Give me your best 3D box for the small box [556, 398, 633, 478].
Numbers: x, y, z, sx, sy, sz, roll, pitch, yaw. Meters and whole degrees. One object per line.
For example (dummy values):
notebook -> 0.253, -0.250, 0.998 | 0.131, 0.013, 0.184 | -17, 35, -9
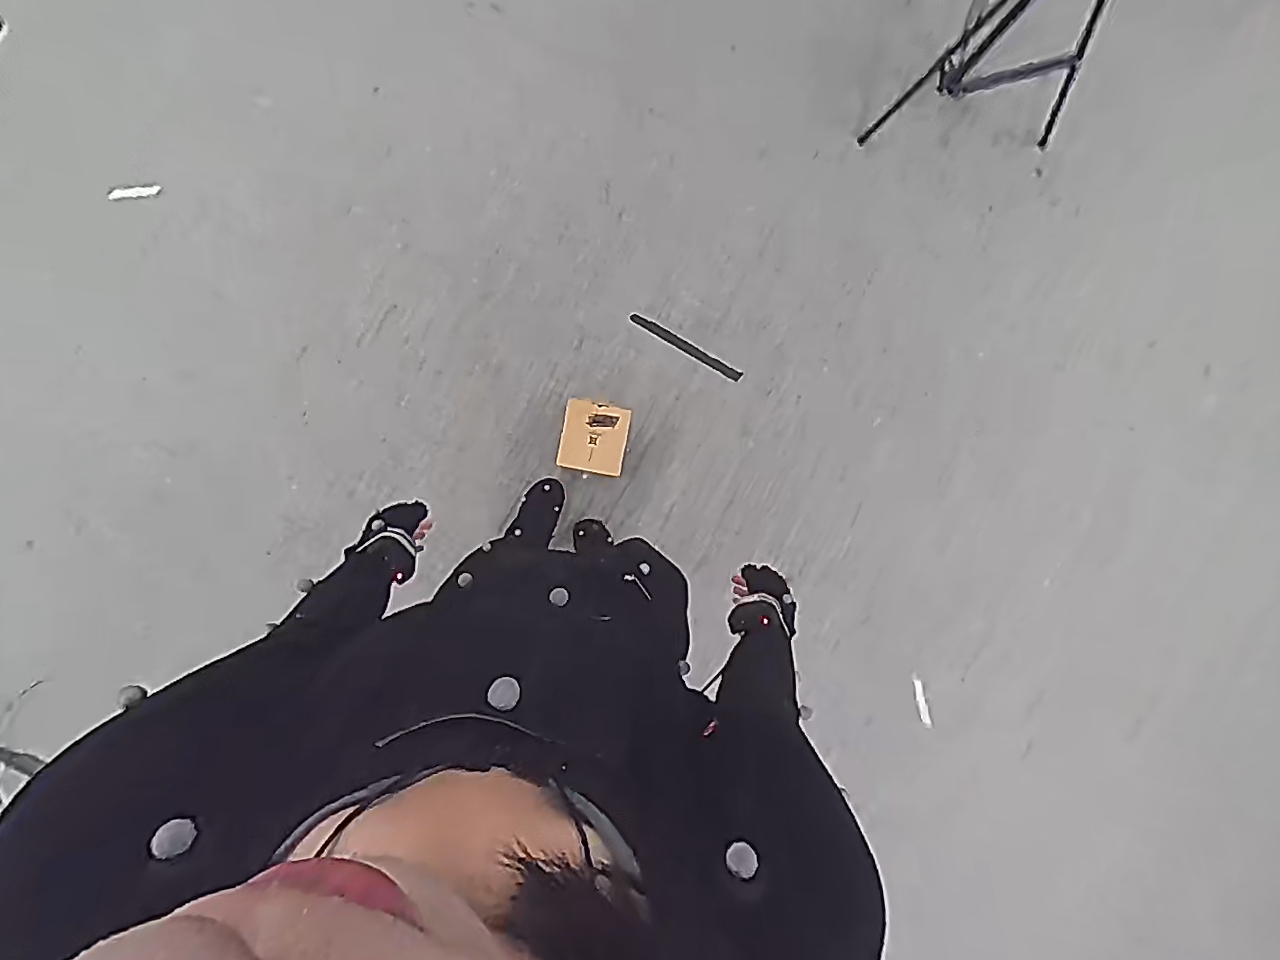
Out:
small box -> -0.122, -0.106, 1.440 | 0.168, 0.176, 0.179 | 11, 89, -5
